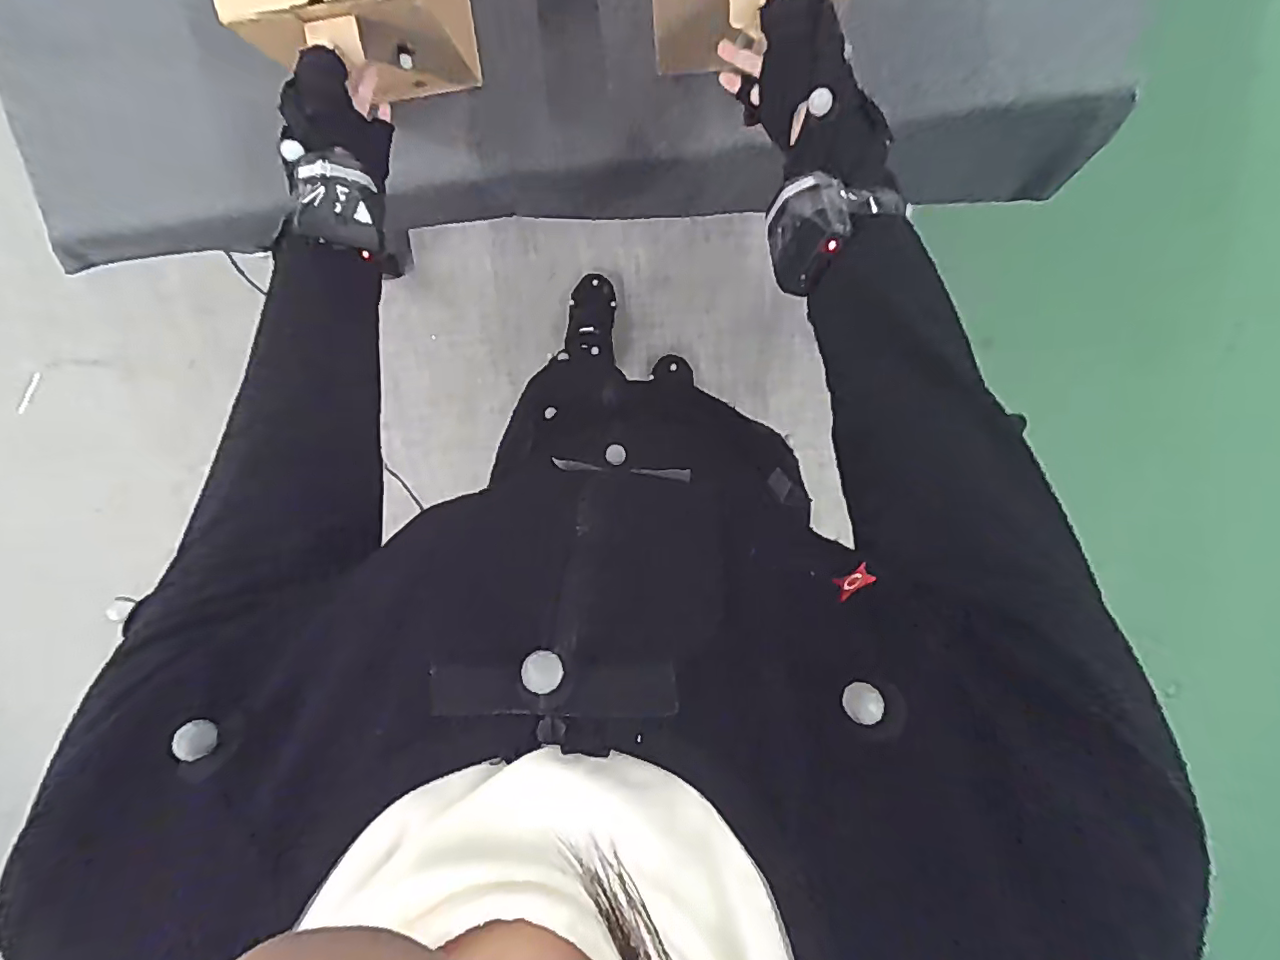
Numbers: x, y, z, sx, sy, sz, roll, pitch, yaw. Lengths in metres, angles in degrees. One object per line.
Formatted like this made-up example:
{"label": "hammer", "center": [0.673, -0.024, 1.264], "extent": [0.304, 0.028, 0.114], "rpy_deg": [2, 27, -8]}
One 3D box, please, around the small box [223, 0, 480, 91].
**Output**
{"label": "small box", "center": [-0.260, -0.486, 0.488], "extent": [0.168, 0.176, 0.179], "rpy_deg": [-6, 102, 4]}

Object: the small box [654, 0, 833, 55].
{"label": "small box", "center": [0.090, -0.499, 0.461], "extent": [0.168, 0.176, 0.179], "rpy_deg": [-3, 106, 4]}
